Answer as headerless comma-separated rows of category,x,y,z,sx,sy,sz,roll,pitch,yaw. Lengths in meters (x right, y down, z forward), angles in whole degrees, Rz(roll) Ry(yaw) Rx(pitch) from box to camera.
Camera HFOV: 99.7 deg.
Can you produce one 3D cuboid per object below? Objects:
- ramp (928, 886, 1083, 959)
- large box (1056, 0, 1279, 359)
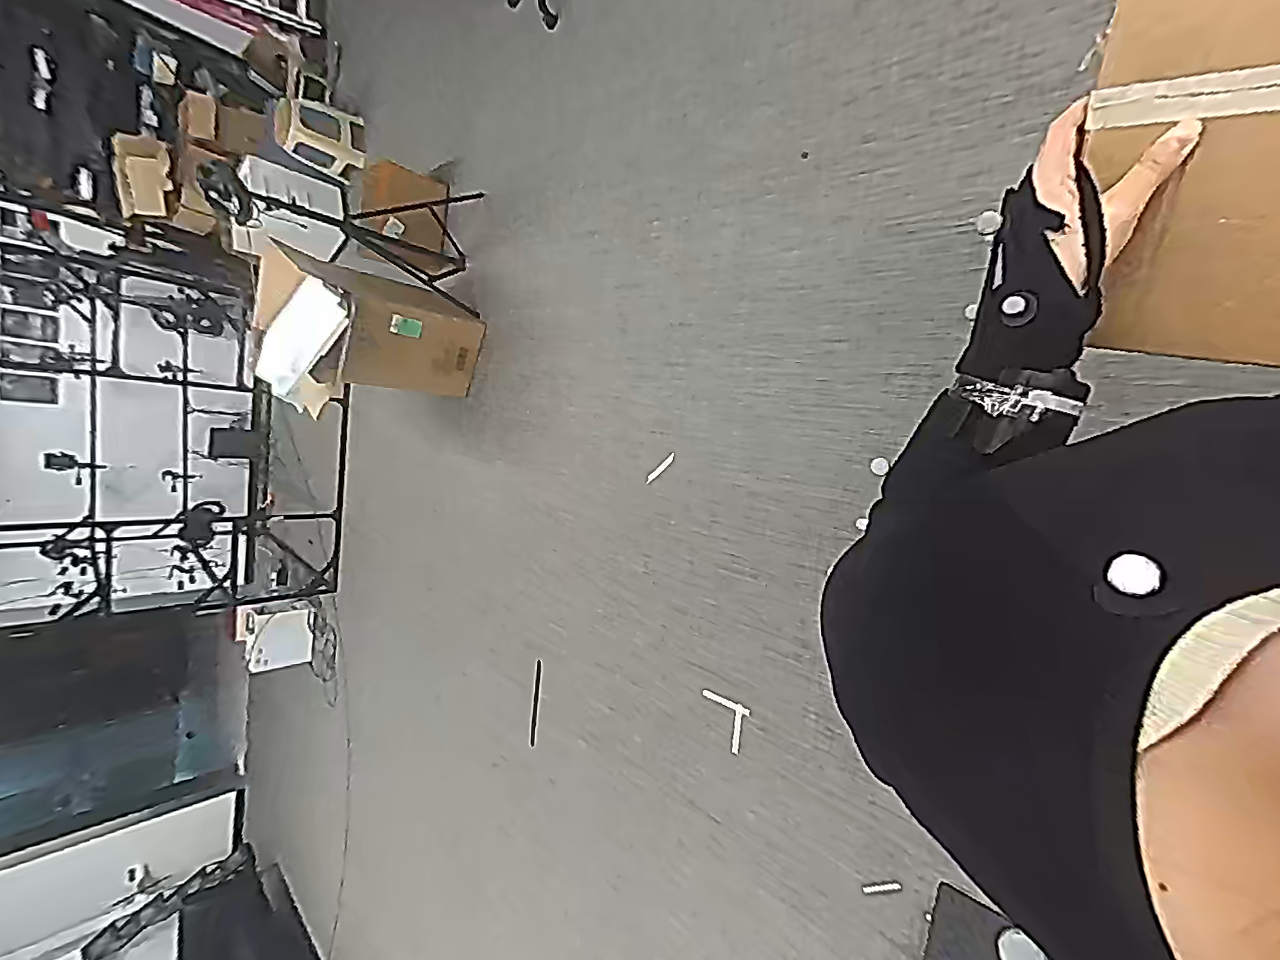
ramp,0.790,1.475,1.111,0.509,0.206,0.991,10,96,43
large box,0.523,-0.261,0.280,0.408,0.320,0.320,21,142,41
